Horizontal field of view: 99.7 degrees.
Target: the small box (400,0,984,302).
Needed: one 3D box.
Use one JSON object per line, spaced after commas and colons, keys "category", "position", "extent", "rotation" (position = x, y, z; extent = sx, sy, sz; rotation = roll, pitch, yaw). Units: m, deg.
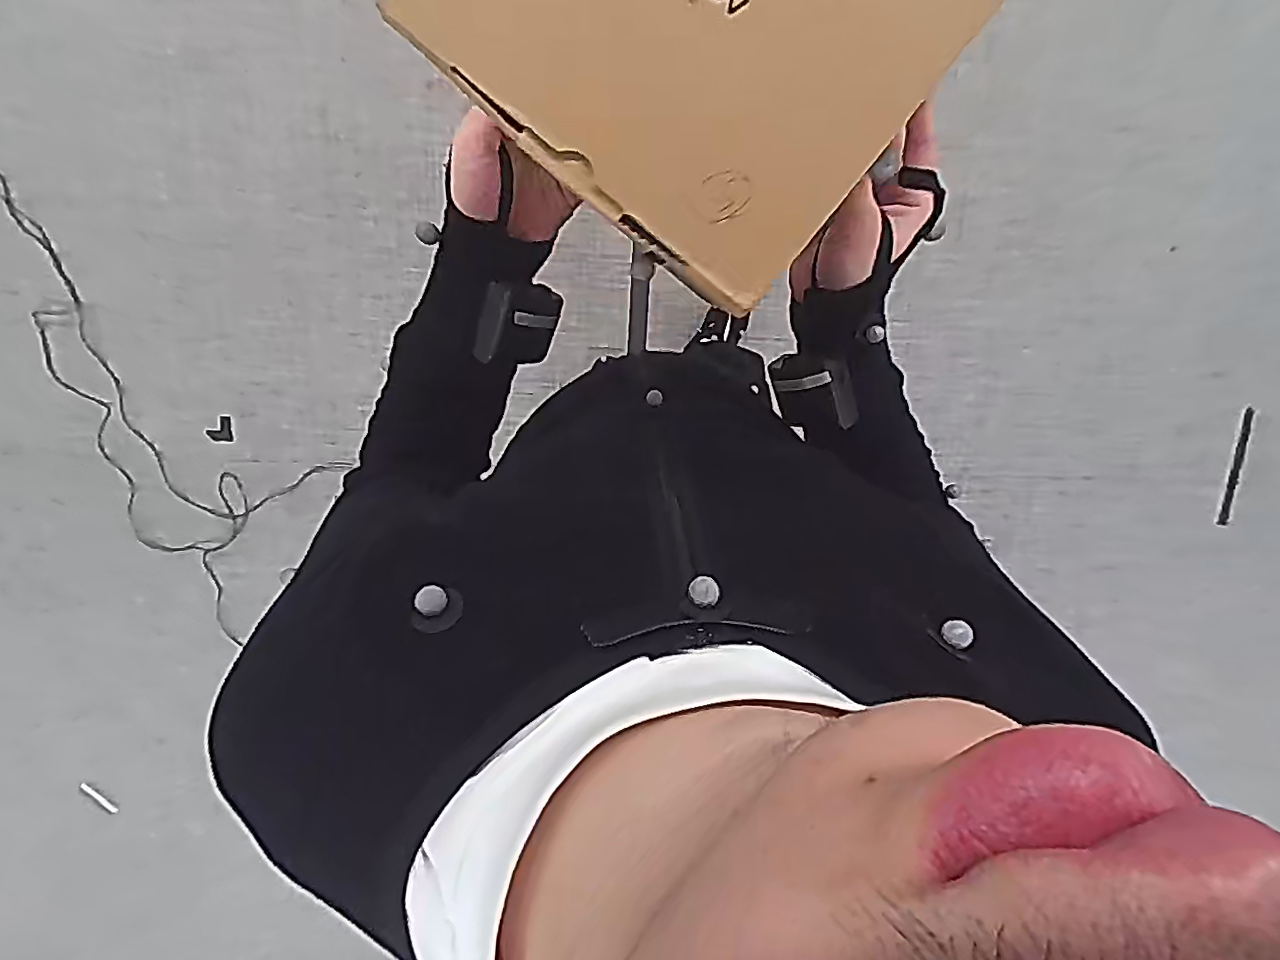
{"category": "small box", "position": [0.032, -0.207, 0.255], "extent": [0.168, 0.176, 0.179], "rotation": [35, 107, -10]}
